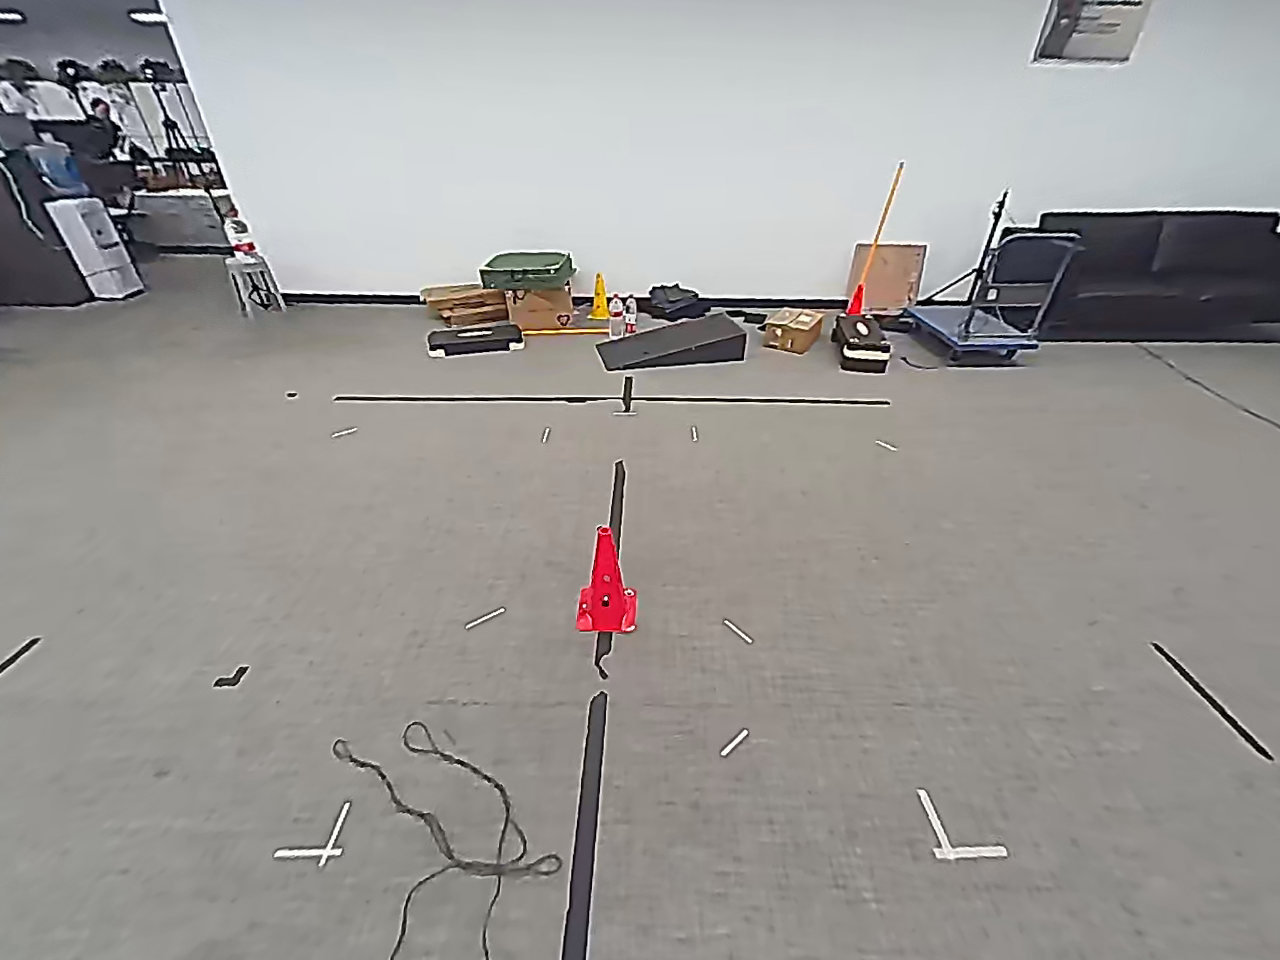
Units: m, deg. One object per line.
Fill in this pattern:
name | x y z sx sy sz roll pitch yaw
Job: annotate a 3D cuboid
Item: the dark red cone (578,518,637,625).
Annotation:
dark red cone | -0.110 0.284 1.775 0.201 0.394 0.202 0 34 0
